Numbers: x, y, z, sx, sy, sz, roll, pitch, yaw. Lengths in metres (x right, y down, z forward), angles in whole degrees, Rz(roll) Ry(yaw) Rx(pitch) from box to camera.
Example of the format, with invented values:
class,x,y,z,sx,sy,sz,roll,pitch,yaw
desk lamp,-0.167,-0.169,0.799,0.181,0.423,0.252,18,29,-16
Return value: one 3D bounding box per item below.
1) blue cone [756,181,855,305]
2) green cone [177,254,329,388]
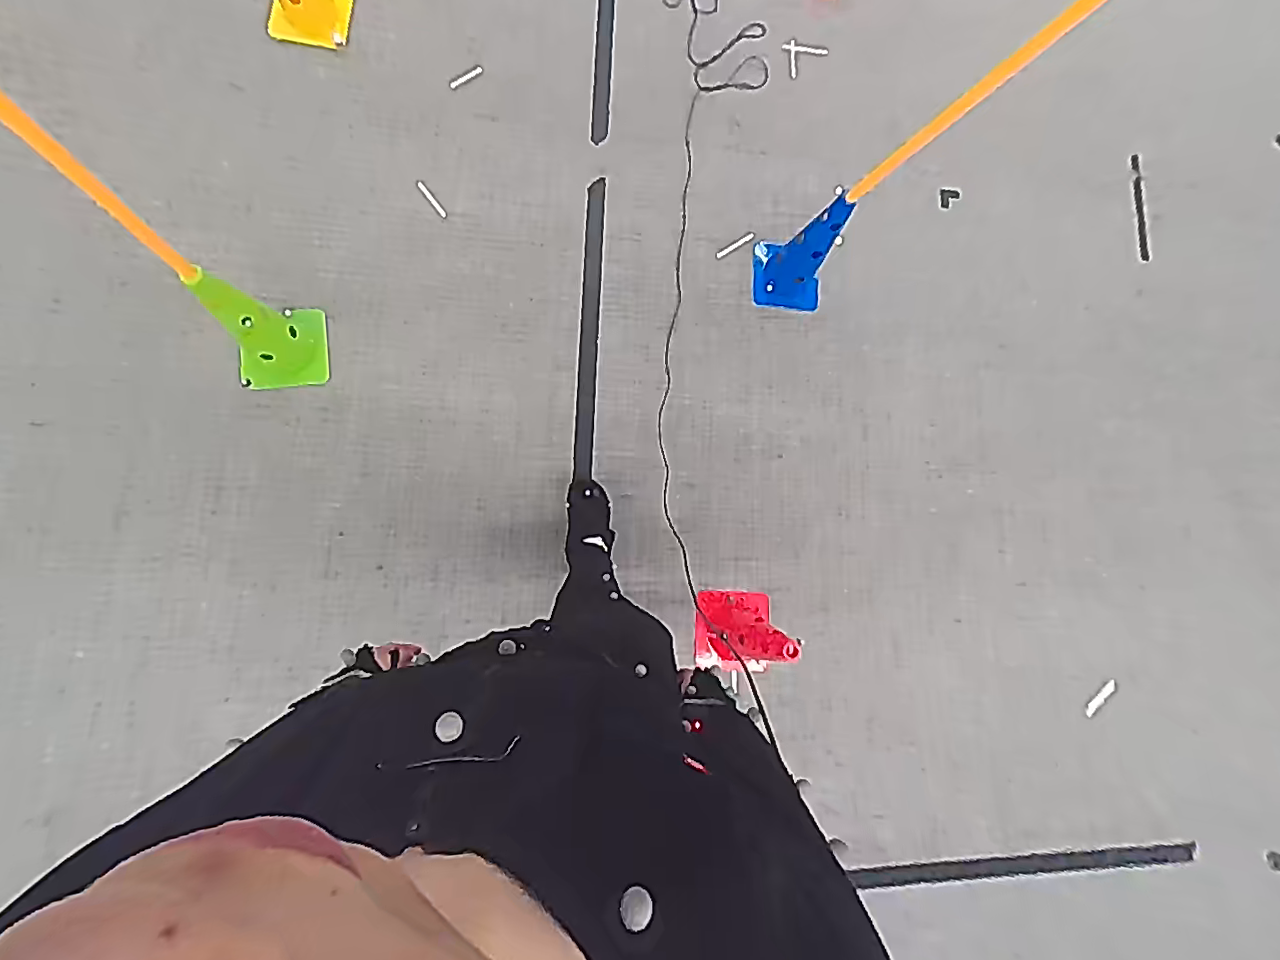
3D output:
class,x,y,z,sx,sy,sz,roll,pitch,yaw
blue cone,0.455,-0.636,1.428,0.193,0.380,0.192,6,79,-8
green cone,-0.857,-0.362,1.172,0.200,0.368,0.202,-8,80,-10
